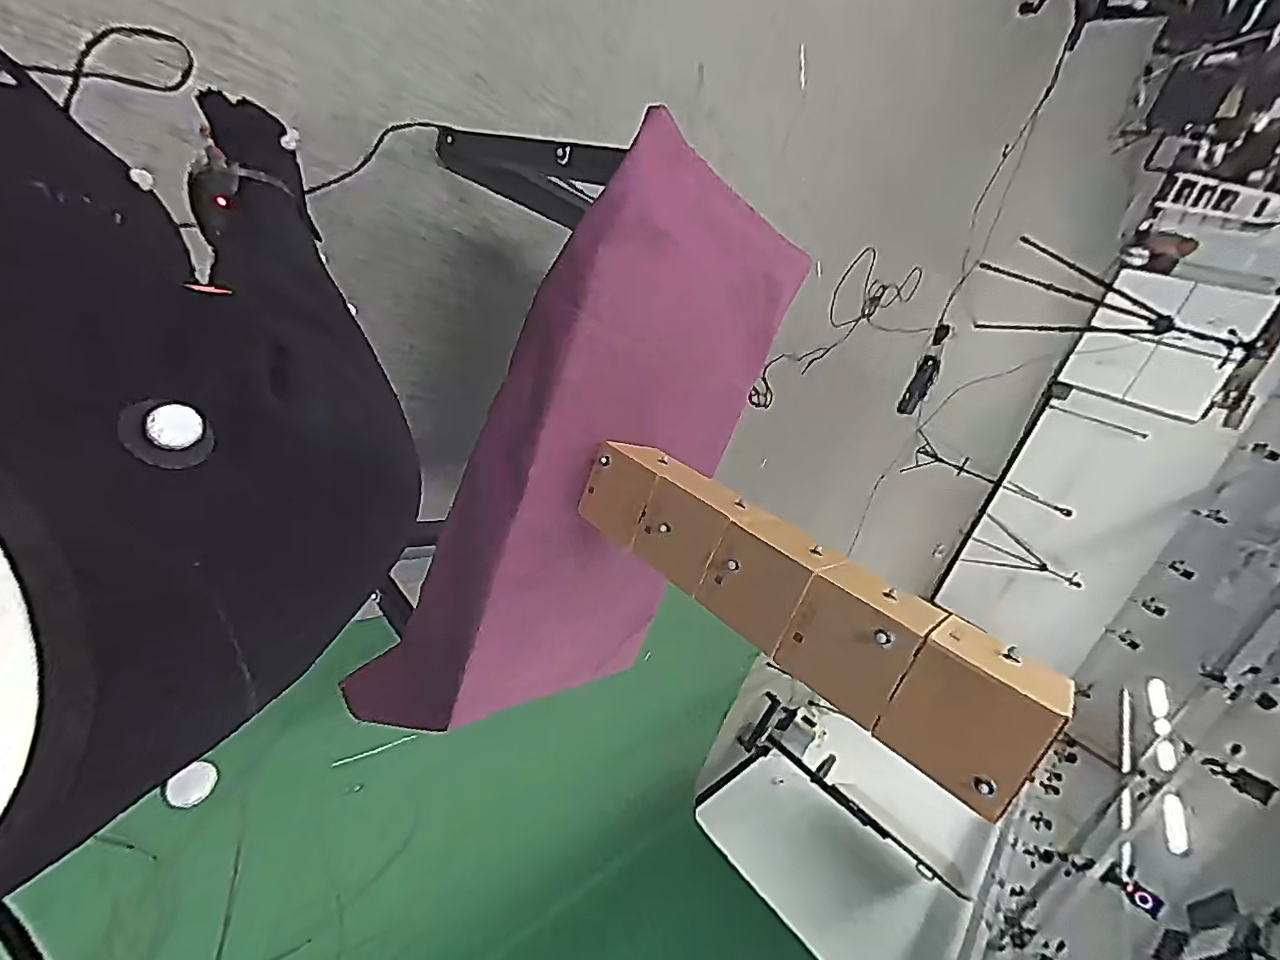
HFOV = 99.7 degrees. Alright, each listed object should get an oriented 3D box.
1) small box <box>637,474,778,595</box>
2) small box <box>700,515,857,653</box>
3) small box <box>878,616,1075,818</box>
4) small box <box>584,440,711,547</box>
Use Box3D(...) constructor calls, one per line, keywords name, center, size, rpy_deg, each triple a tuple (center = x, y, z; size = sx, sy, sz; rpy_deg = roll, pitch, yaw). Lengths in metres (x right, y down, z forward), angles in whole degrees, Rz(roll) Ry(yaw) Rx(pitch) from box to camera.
Box3D(name="small box", center=(0.126, 0.097, 1.036), size=(0.179, 0.176, 0.168), rpy_deg=(3, 113, -49))
Box3D(name="small box", center=(0.238, 0.169, 0.942), size=(0.179, 0.176, 0.168), rpy_deg=(3, 113, -49))
Box3D(name="small box", center=(0.463, 0.308, 0.751), size=(0.168, 0.176, 0.179), rpy_deg=(1, 115, -50))
Box3D(name="small box", center=(0.011, 0.026, 1.129), size=(0.179, 0.176, 0.168), rpy_deg=(3, 114, -50))
